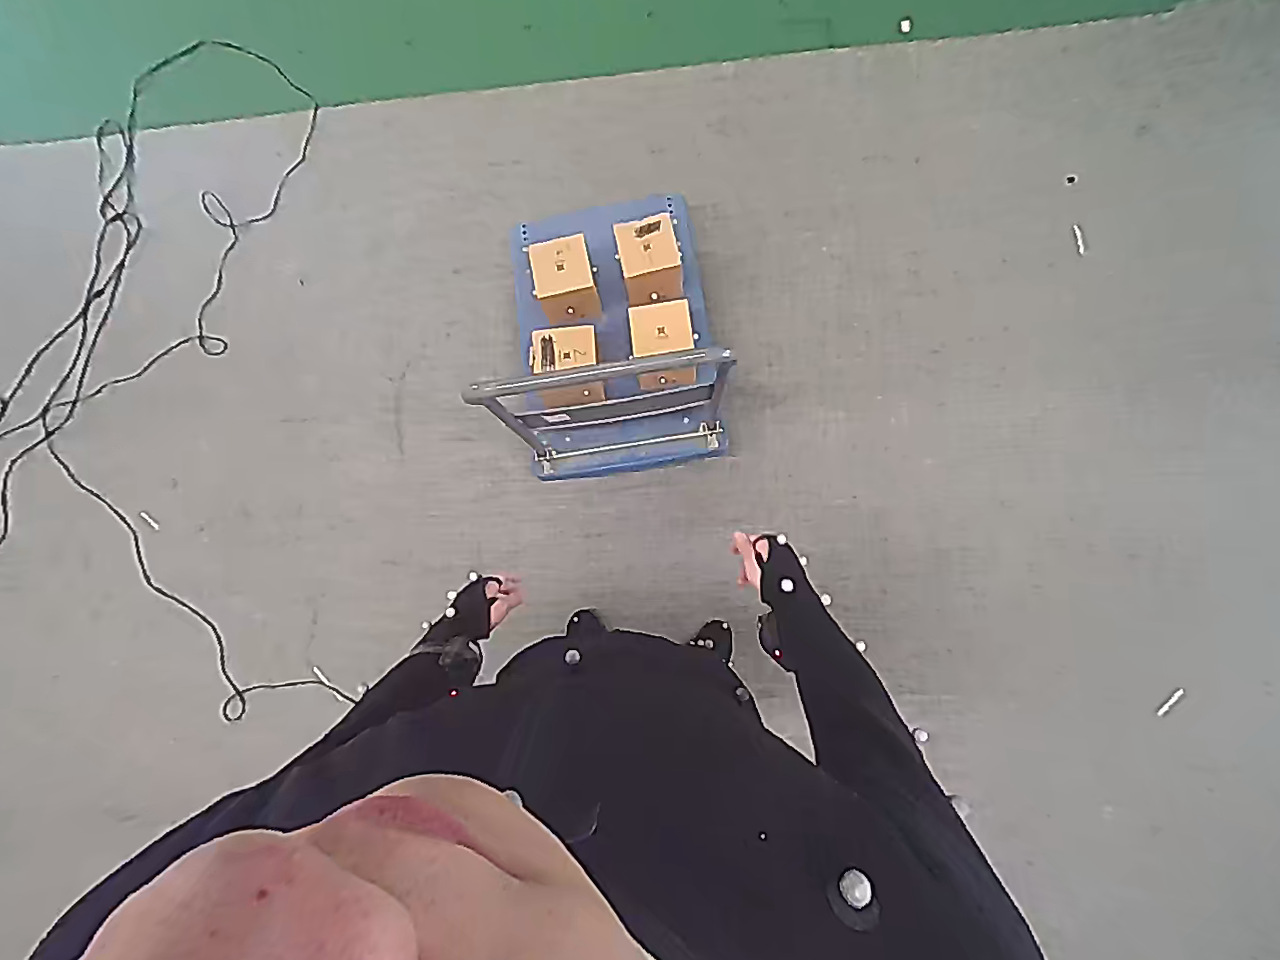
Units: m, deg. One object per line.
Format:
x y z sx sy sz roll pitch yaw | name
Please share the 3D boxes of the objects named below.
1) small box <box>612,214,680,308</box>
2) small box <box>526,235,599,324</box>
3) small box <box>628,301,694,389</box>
0.021 -0.639 1.590 0.168 0.176 0.179 -13 79 3 | small box
-0.224 -0.583 1.600 0.168 0.176 0.179 -12 77 2 | small box
0.060 -0.378 1.534 0.168 0.176 0.179 -8 78 3 | small box
